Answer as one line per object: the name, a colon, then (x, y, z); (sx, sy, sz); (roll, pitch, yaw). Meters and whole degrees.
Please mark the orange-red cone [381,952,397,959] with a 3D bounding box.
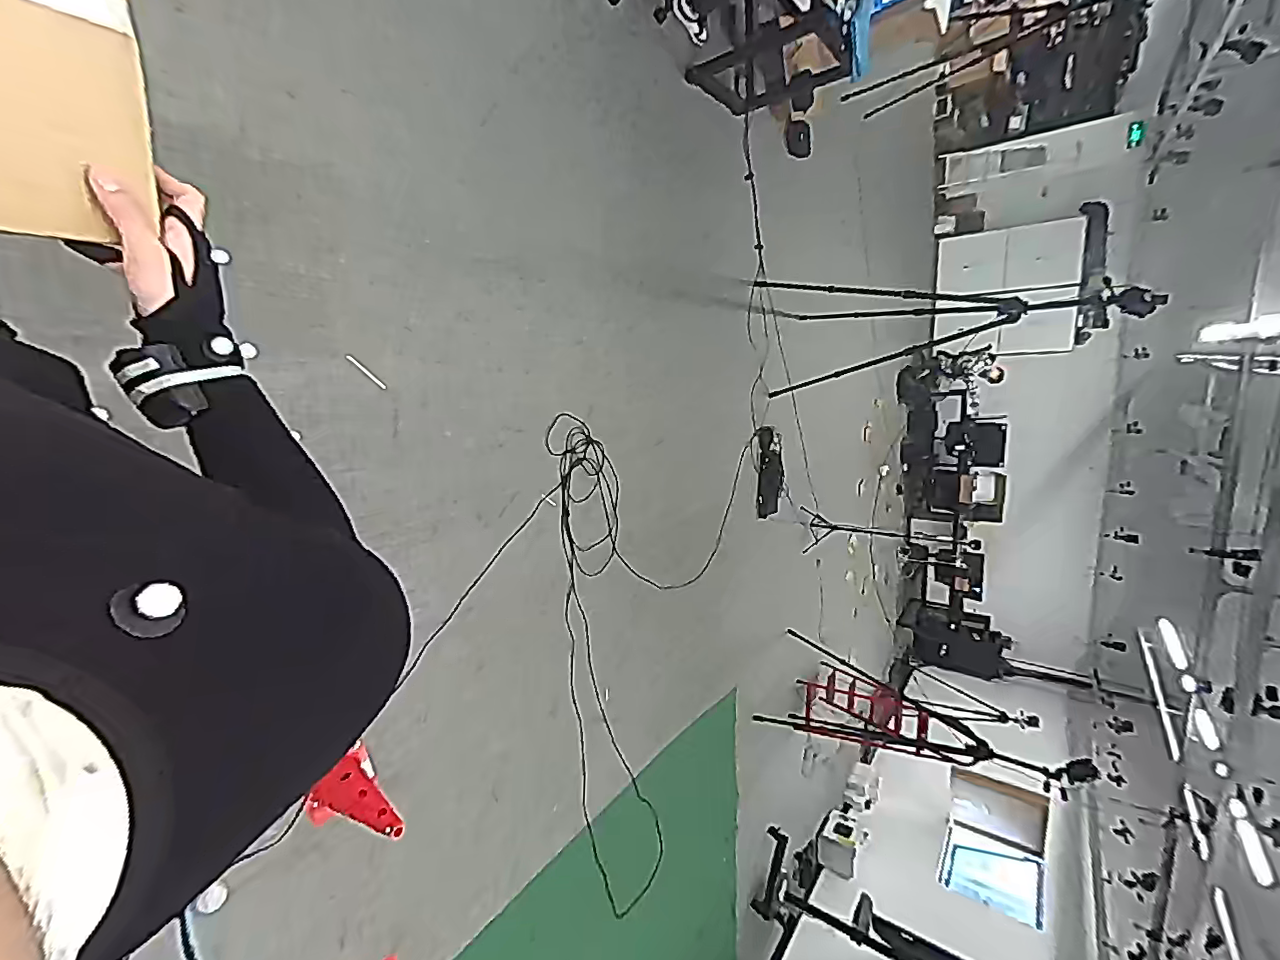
orange-red cone: (-0.771, 1.740, 1.710); (0.199, 0.360, 0.198); (-4, 98, -55)
